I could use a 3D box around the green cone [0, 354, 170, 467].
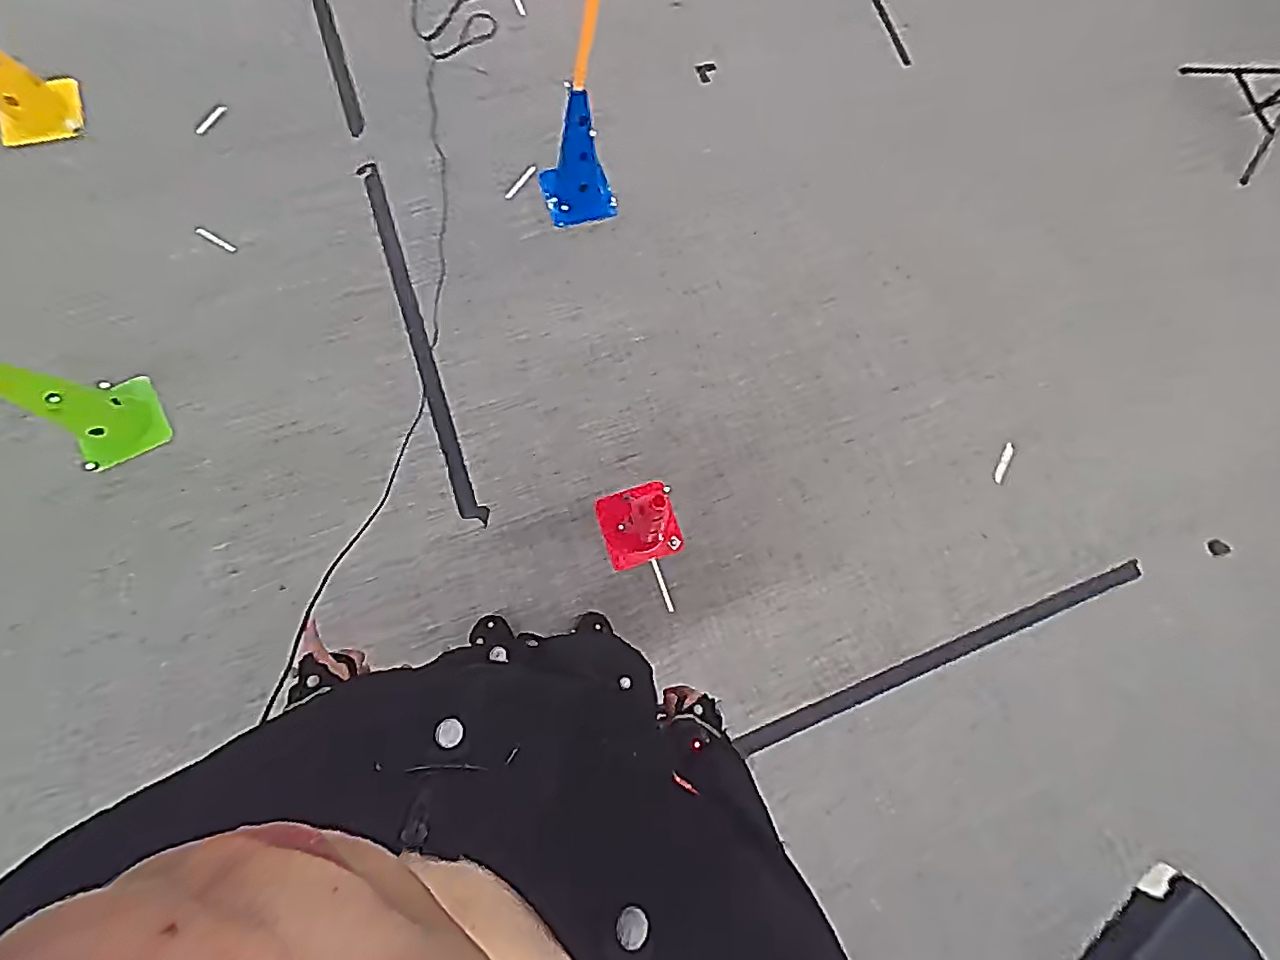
[{"bbox_3d":[-1.290,-0.193,1.191,0.200,0.368,0.202,-29,80,-11],"label":"green cone"}]

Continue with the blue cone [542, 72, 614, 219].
[{"bbox_3d":[-0.169,-0.917,1.479,0.193,0.380,0.192,-15,79,-9],"label":"blue cone"}]
